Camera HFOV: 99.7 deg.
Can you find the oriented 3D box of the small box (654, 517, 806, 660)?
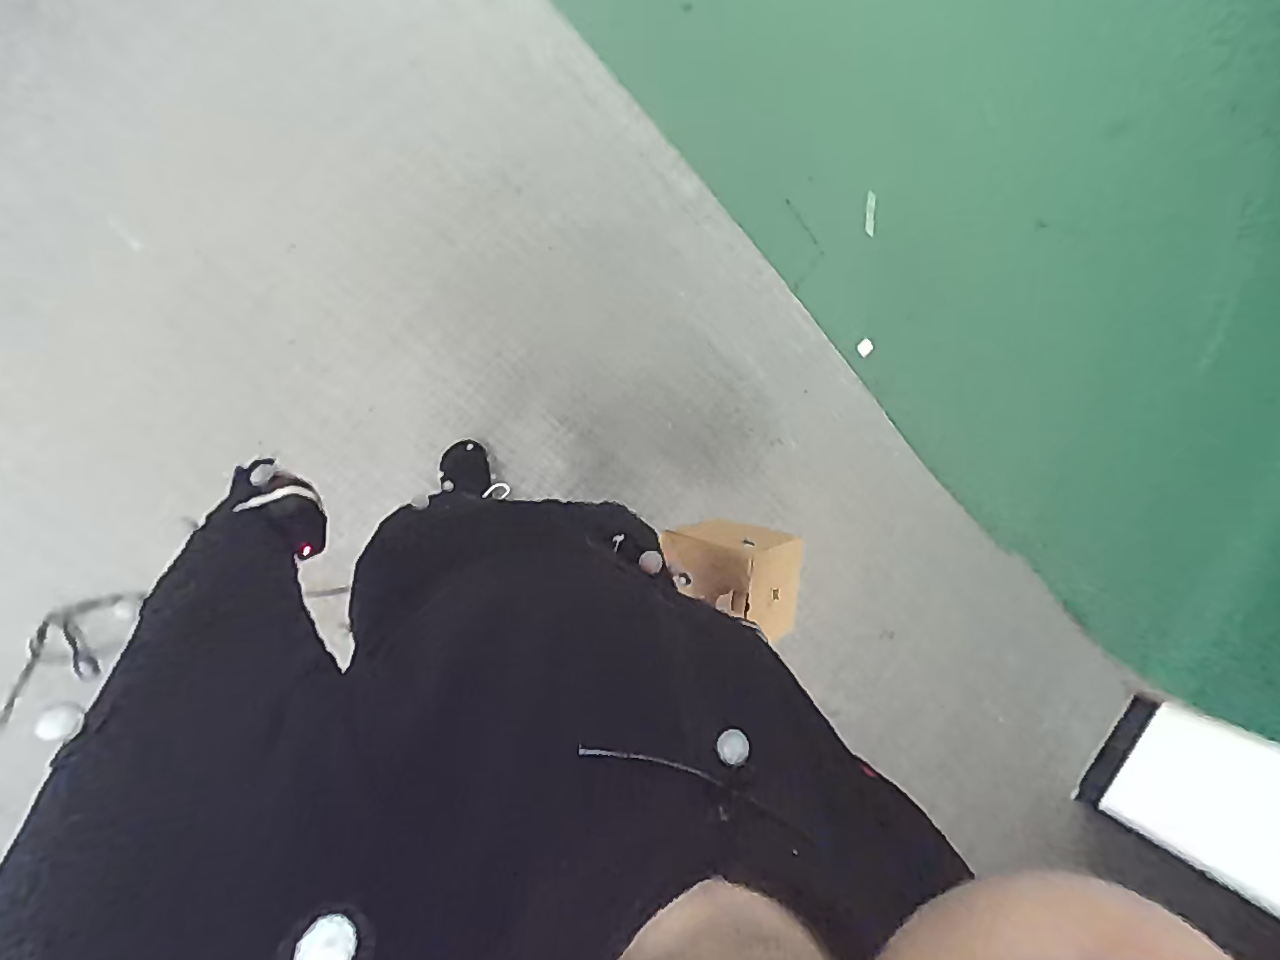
[{"bbox_3d":[0.146,0.161,0.875,0.179,0.176,0.168,-6,103,-49],"label":"small box"}]
